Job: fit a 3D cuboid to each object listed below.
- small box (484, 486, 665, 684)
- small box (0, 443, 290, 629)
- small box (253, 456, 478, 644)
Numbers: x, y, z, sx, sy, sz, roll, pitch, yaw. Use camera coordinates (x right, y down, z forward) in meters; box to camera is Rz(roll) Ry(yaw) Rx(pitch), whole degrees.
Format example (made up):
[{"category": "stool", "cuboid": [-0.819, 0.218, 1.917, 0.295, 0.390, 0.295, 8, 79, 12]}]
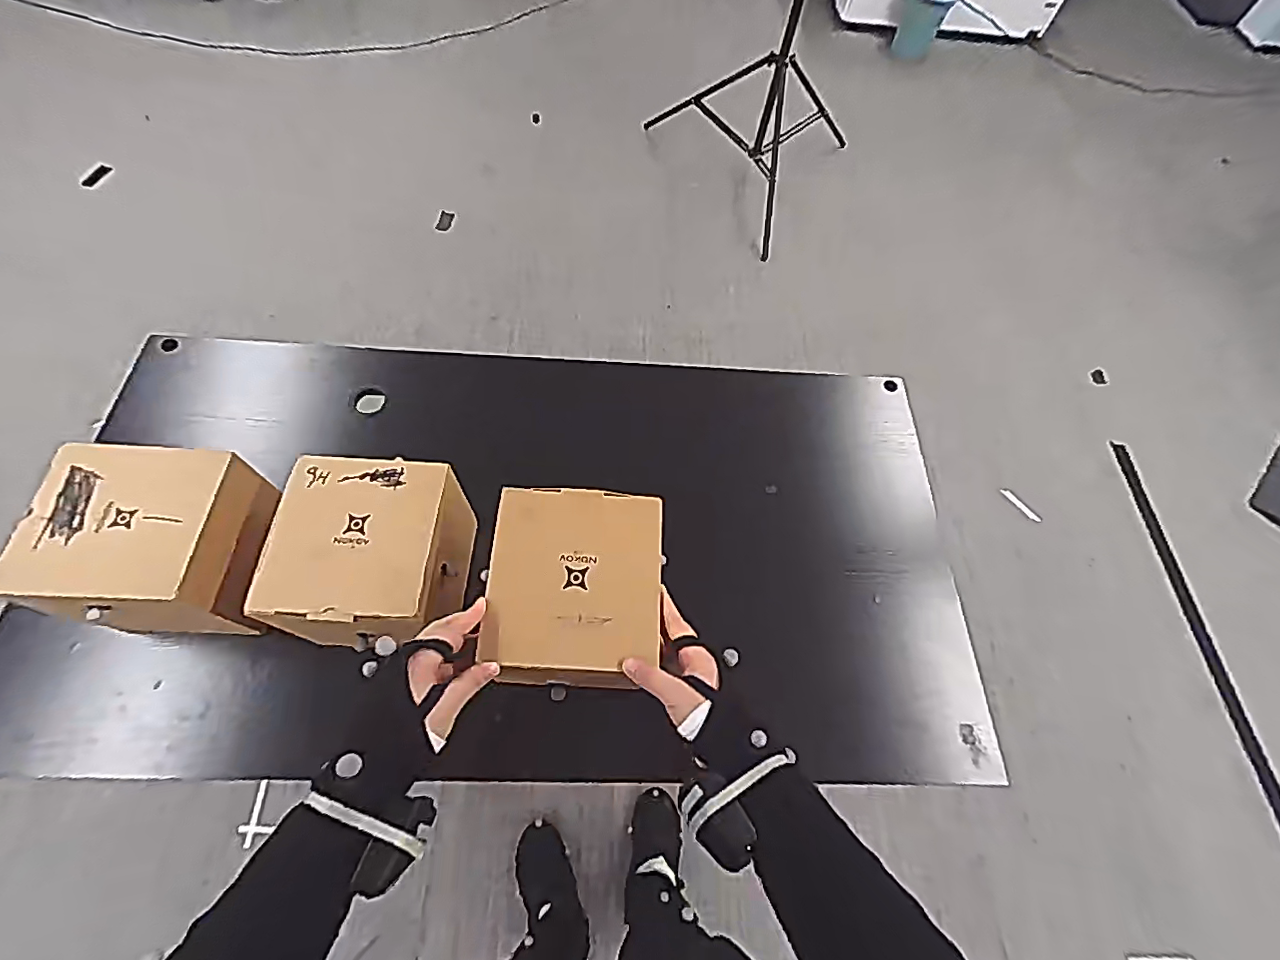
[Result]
[{"category": "small box", "cuboid": [-0.065, 0.123, 0.597, 0.168, 0.176, 0.179, 3, 65, -4]}, {"category": "small box", "cuboid": [-0.530, 0.073, 0.623, 0.179, 0.176, 0.168, 3, 64, -4]}, {"category": "small box", "cuboid": [-0.298, 0.091, 0.635, 0.168, 0.176, 0.179, 4, 64, -3]}]
